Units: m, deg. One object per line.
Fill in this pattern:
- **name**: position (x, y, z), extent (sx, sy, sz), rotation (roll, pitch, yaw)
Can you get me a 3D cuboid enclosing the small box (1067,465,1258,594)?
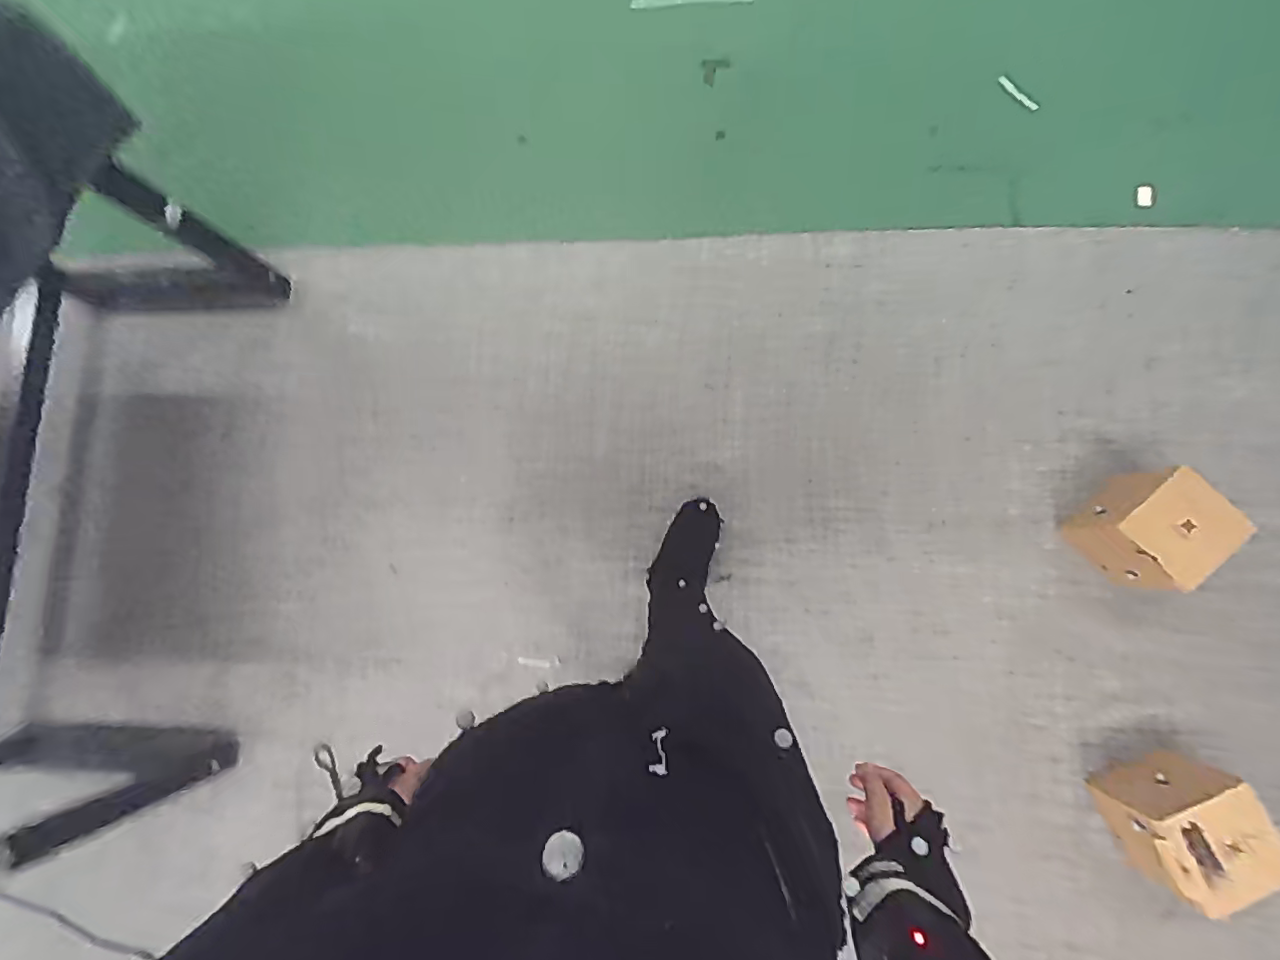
- **small box**: position (0.984, 0.098, 1.043), extent (0.179, 0.176, 0.168), rotation (-42, 82, -3)
